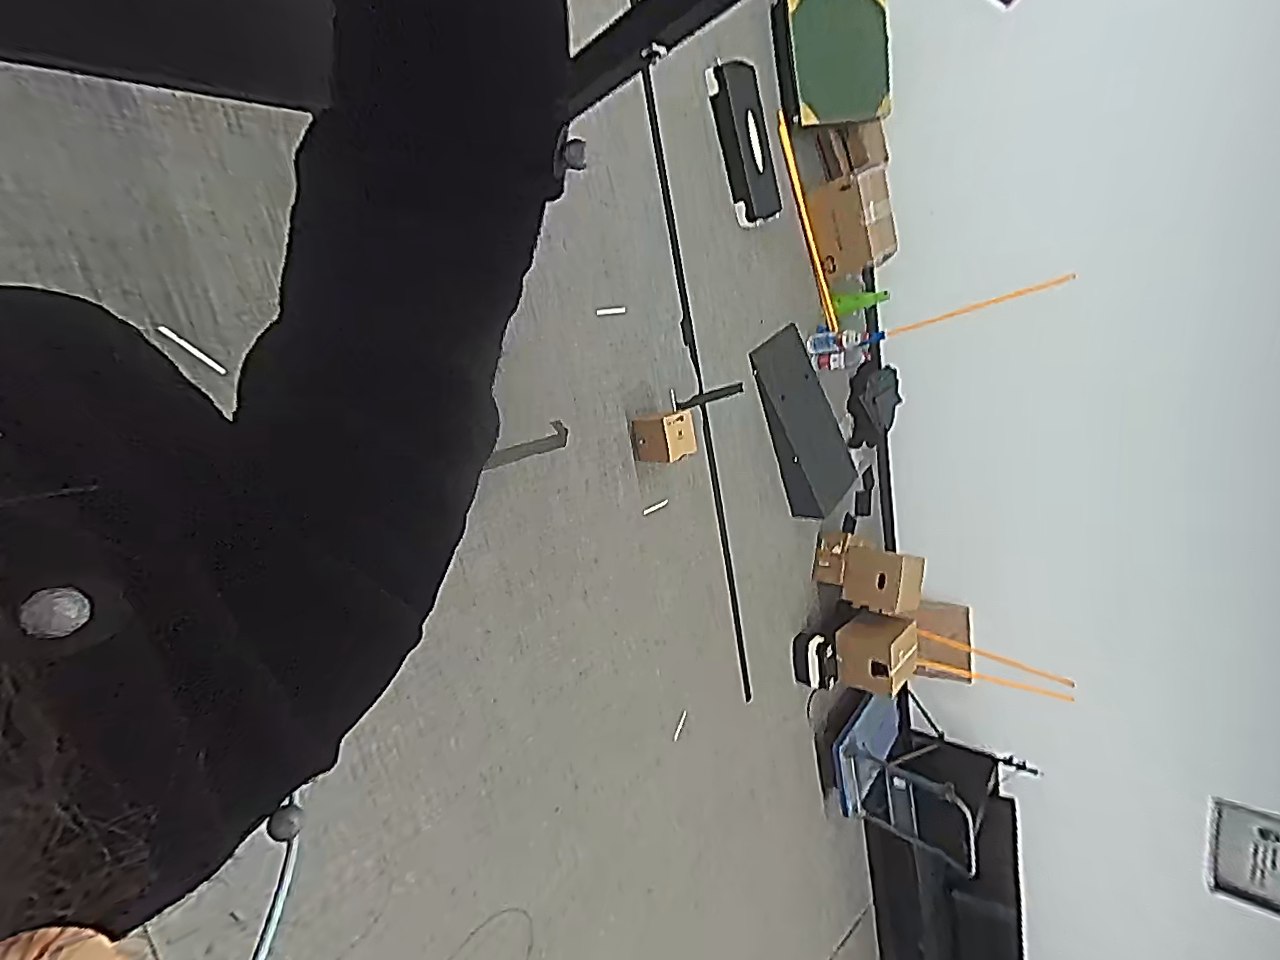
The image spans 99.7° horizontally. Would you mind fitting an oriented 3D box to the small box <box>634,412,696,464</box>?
[{"bbox_3d":[0.099,-0.170,2.142,0.168,0.176,0.179,-23,109,-42],"label":"small box"}]
